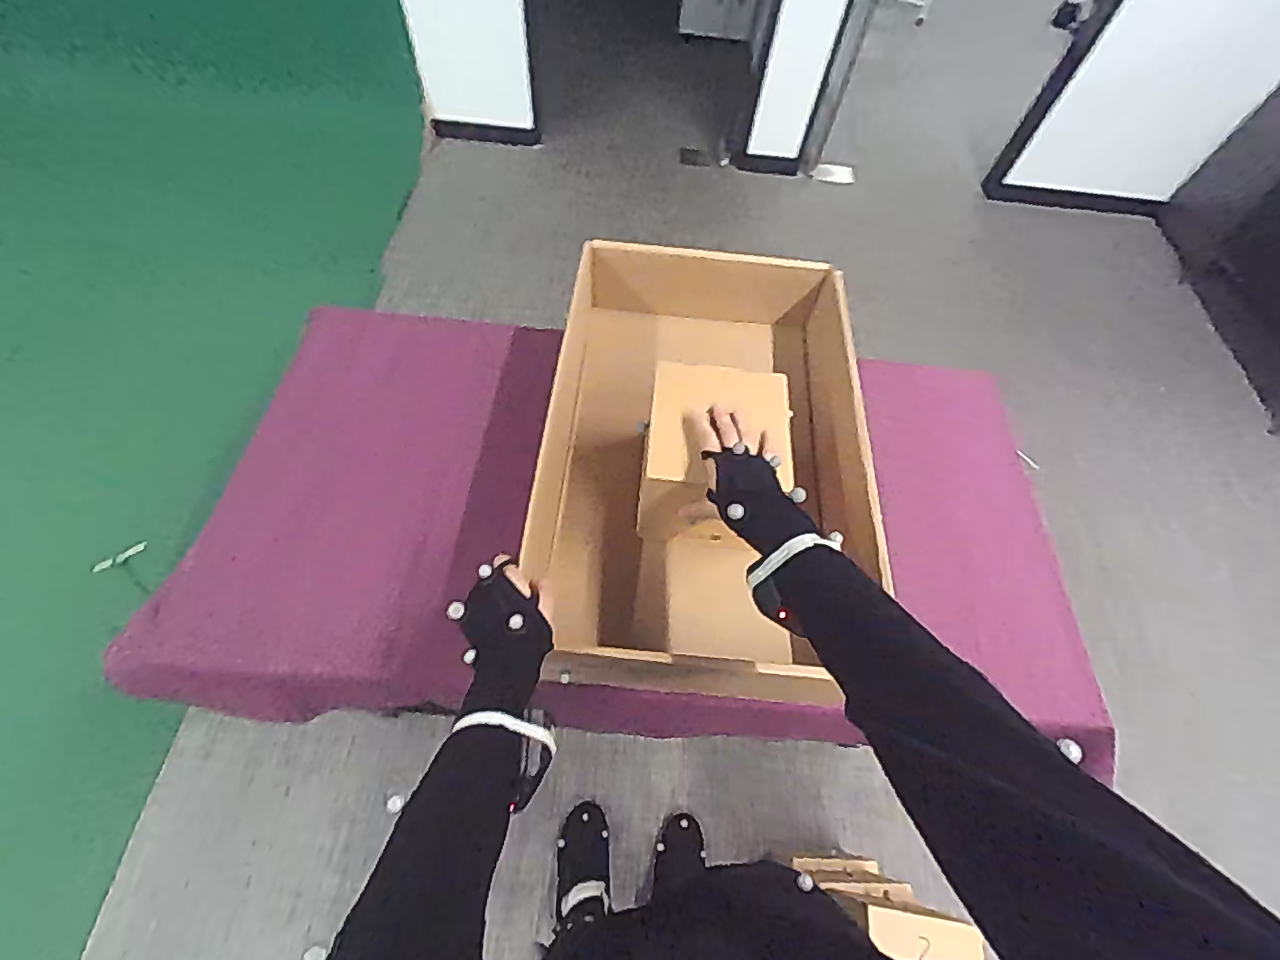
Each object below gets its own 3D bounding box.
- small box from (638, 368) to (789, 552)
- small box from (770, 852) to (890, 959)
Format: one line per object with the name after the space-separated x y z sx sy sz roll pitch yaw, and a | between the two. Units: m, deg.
0.087 -0.019 0.706 0.168 0.176 0.179 5 59 -1 | small box
0.381 0.875 1.113 0.179 0.176 0.168 3 60 -2 | small box
